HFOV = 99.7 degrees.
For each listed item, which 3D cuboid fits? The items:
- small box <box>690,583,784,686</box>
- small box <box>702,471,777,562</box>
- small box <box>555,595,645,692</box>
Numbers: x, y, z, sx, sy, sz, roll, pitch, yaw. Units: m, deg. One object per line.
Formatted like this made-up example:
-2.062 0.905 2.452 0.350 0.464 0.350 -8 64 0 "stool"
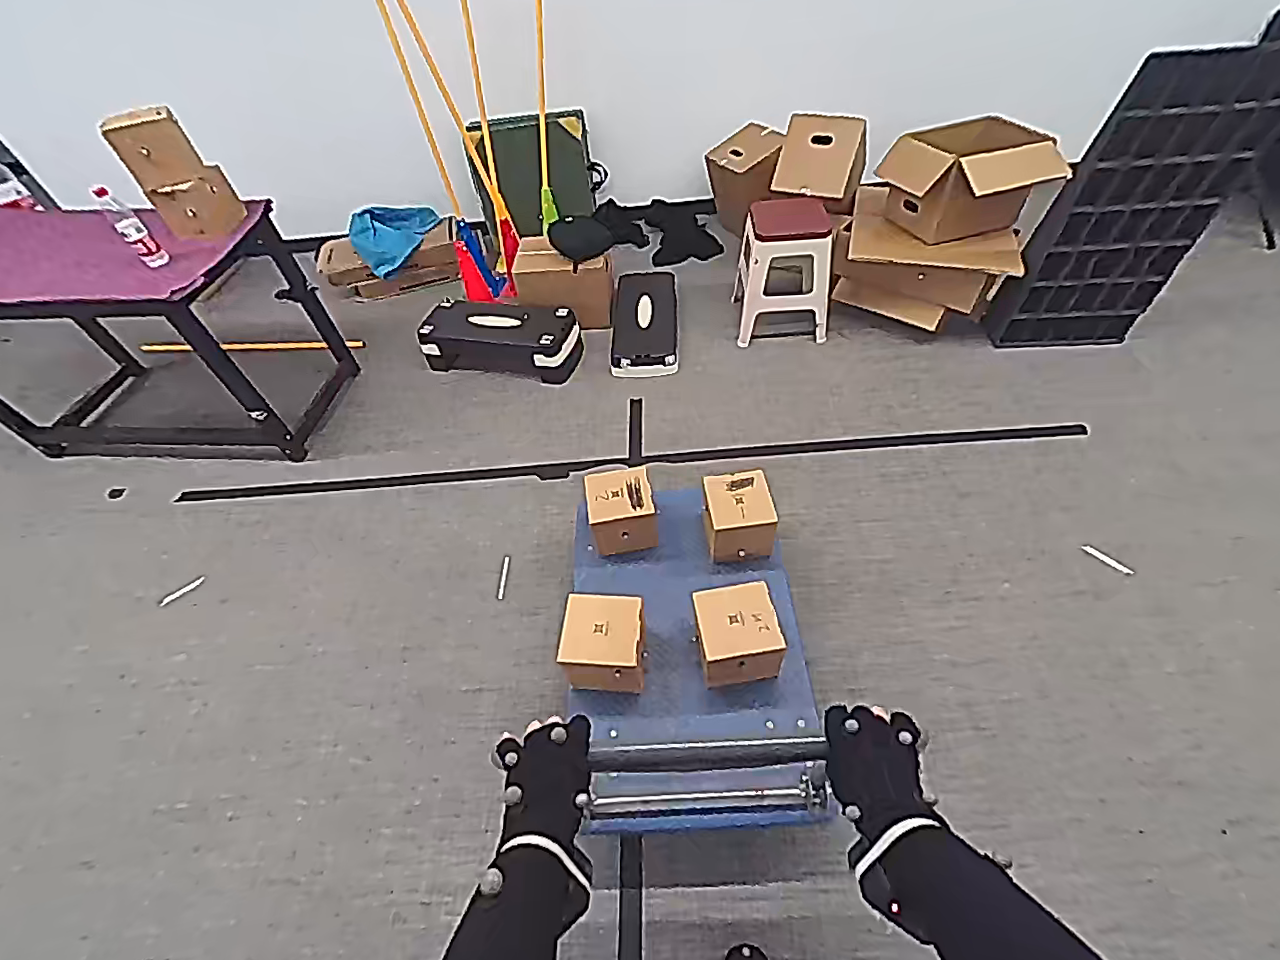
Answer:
0.219 0.361 1.252 0.179 0.176 0.168 -9 51 -1 "small box"
0.260 0.100 1.462 0.168 0.176 0.179 -7 51 0 "small box"
-0.085 0.386 1.266 0.179 0.176 0.168 1 51 6 "small box"
